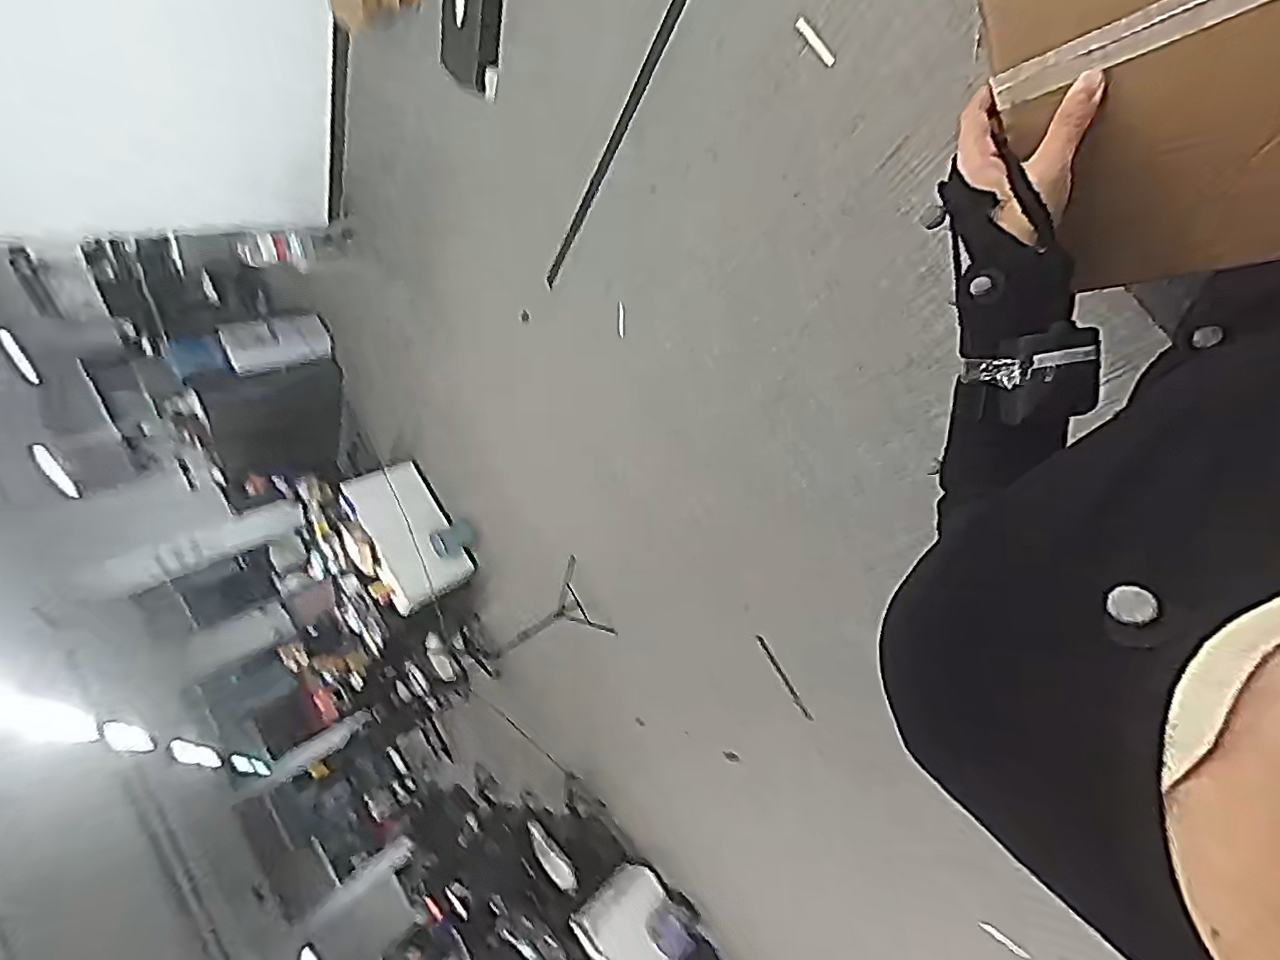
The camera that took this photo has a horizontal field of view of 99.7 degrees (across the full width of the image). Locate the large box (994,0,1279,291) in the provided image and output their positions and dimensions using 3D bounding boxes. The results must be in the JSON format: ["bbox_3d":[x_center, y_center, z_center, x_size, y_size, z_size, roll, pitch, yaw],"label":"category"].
[{"bbox_3d":[0.449,-0.348,0.258,0.408,0.320,0.320,6,141,51],"label":"large box"}]
